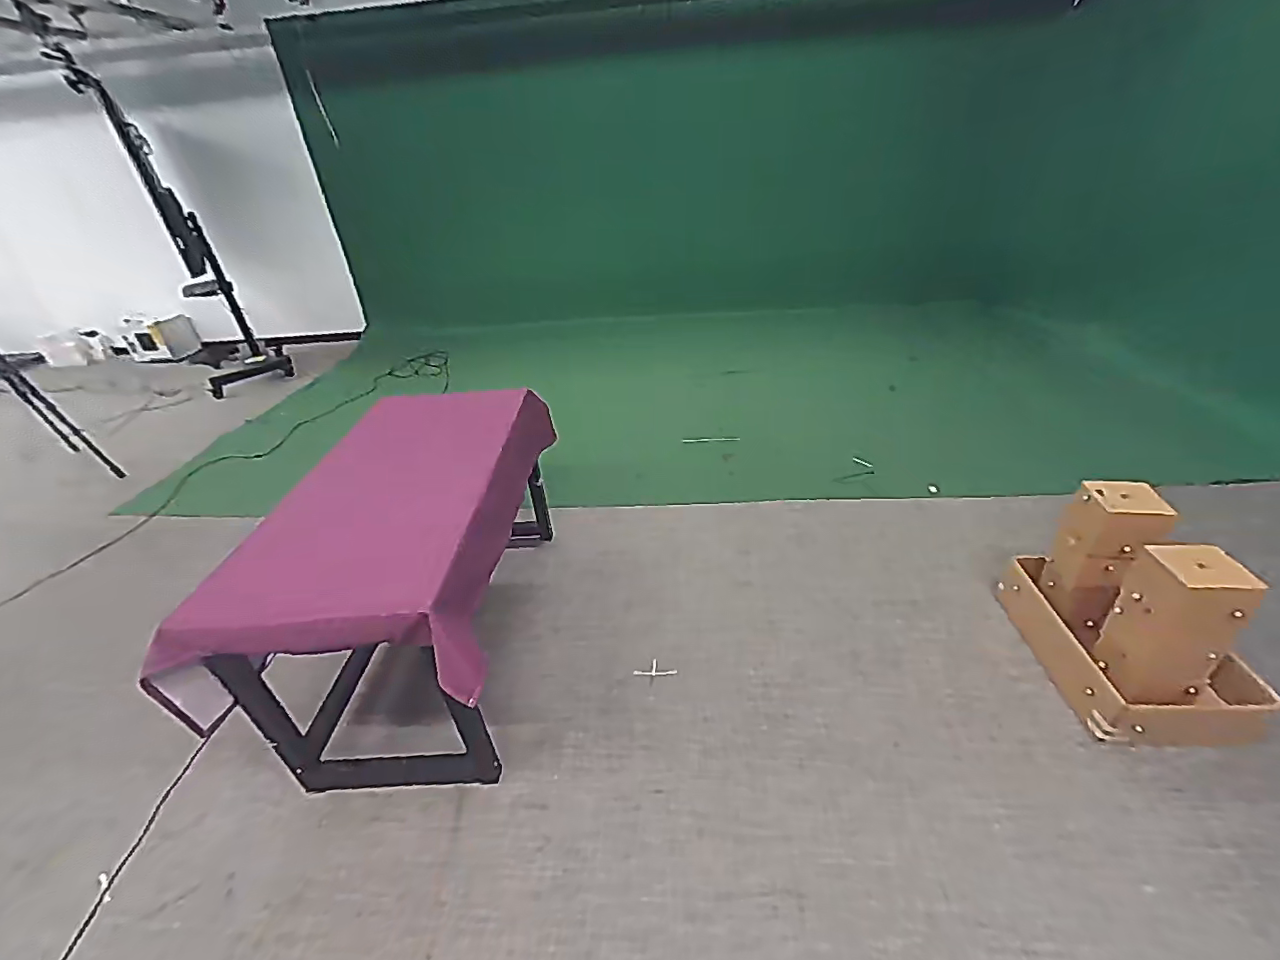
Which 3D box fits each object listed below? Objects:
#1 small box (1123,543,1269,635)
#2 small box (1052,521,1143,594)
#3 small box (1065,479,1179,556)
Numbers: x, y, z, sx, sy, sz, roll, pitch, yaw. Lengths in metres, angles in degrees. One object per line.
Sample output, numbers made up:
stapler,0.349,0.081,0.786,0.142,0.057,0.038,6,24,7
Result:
small box,1.417,0.281,1.394,0.179,0.176,0.168,0,32,8
small box,1.465,0.248,1.736,0.179,0.176,0.168,3,34,10
small box,1.449,0.115,1.640,0.179,0.176,0.168,3,33,11
